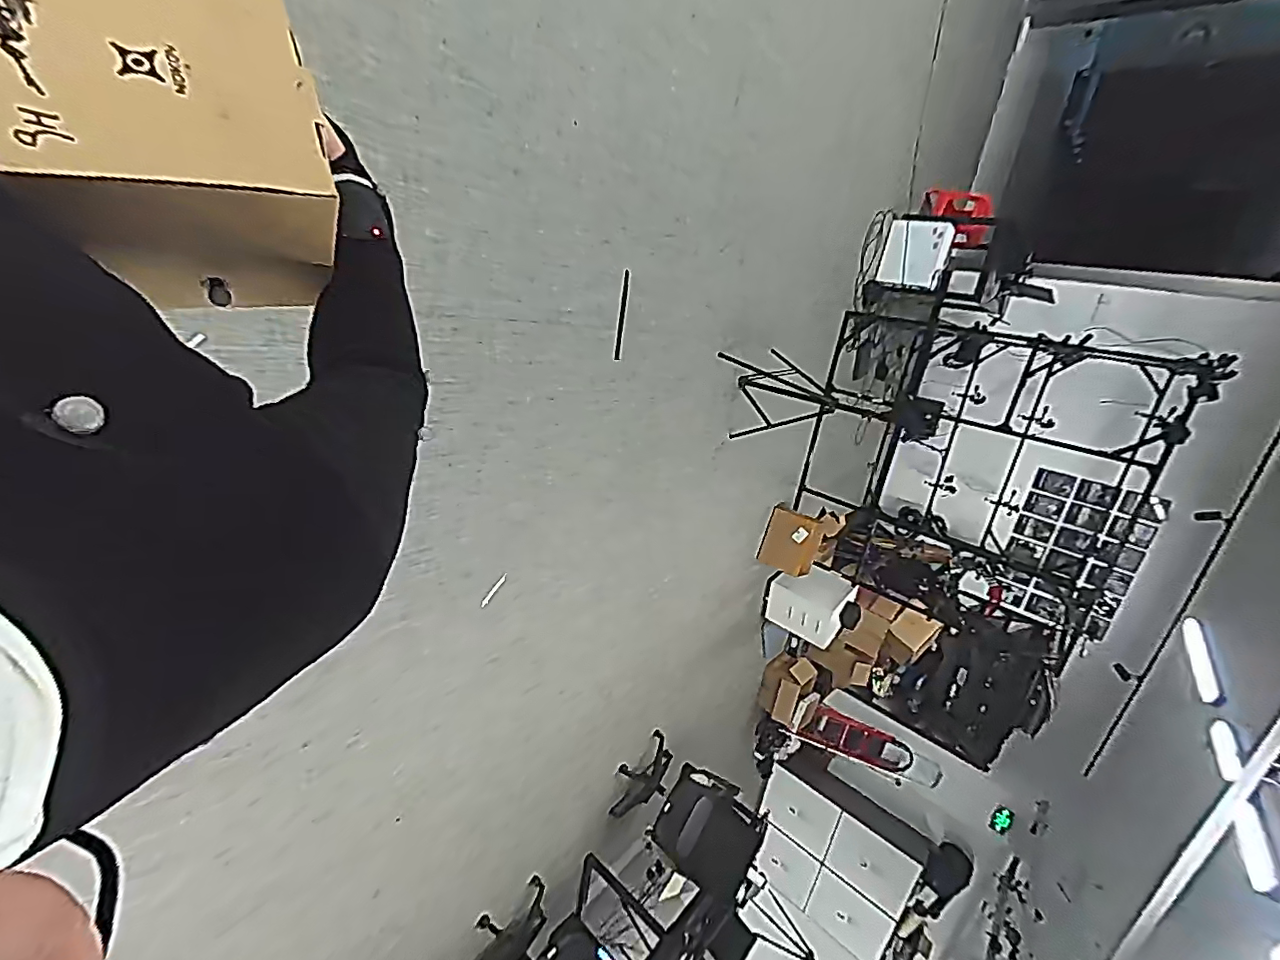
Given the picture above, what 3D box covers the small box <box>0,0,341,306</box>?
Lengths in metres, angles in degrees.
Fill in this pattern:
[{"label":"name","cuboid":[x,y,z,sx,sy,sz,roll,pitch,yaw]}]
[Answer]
[{"label":"small box","cuboid":[-0.361,-0.253,0.432,0.179,0.176,0.168,-14,85,-34]}]
